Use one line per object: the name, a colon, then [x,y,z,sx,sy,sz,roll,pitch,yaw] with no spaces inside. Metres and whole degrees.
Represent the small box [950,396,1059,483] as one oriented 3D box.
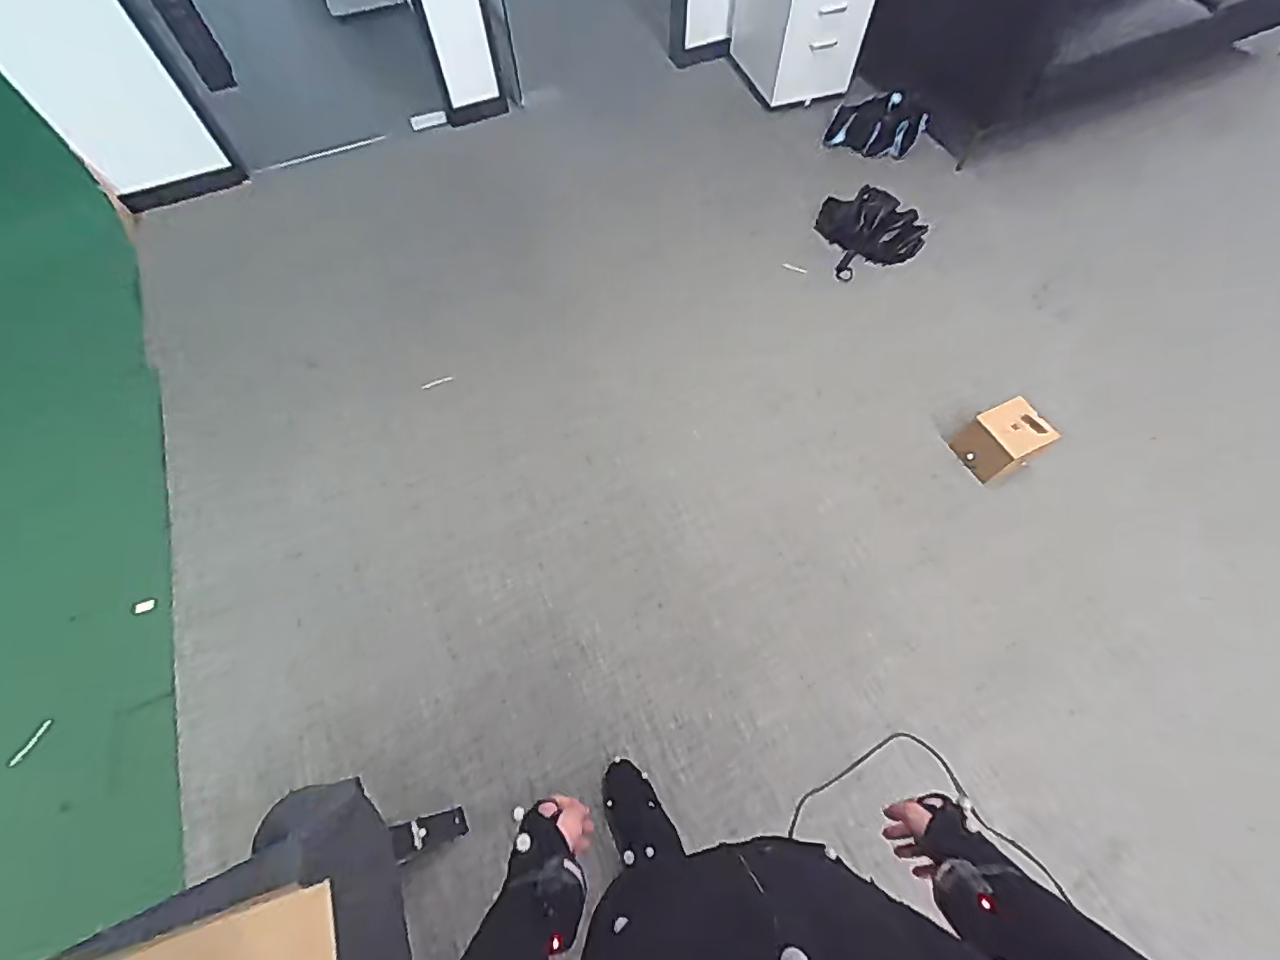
small box: [1.091,-0.119,1.634,0.179,0.176,0.168,-24,65,-10]
